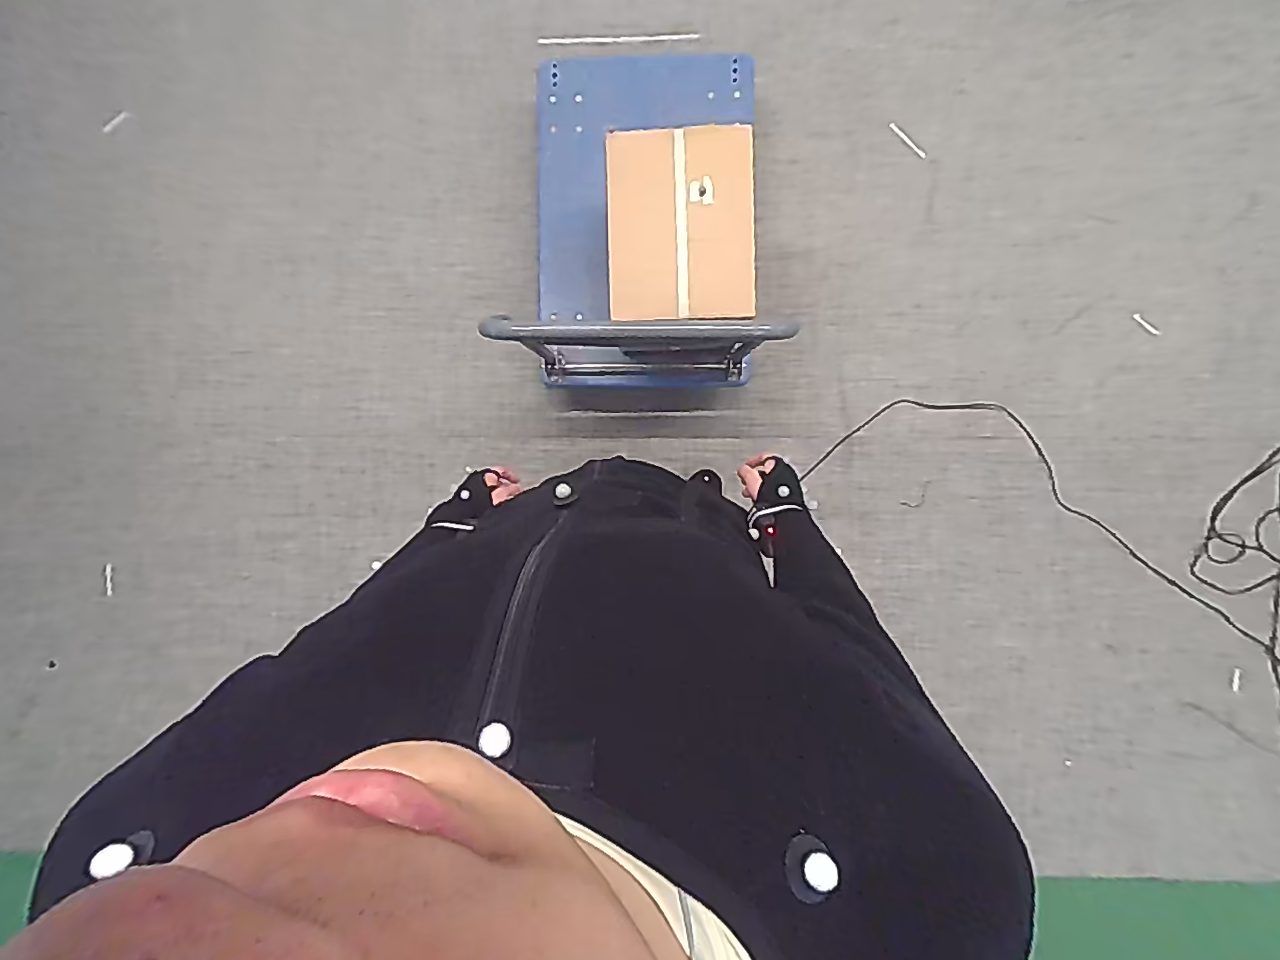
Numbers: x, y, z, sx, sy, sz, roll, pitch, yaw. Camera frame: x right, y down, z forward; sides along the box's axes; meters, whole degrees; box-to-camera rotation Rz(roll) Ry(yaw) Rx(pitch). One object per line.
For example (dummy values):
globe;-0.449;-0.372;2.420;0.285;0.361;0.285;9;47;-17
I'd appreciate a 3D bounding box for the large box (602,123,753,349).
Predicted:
large box;0.084;-0.549;1.292;0.320;0.320;0.408;-1;92;1
